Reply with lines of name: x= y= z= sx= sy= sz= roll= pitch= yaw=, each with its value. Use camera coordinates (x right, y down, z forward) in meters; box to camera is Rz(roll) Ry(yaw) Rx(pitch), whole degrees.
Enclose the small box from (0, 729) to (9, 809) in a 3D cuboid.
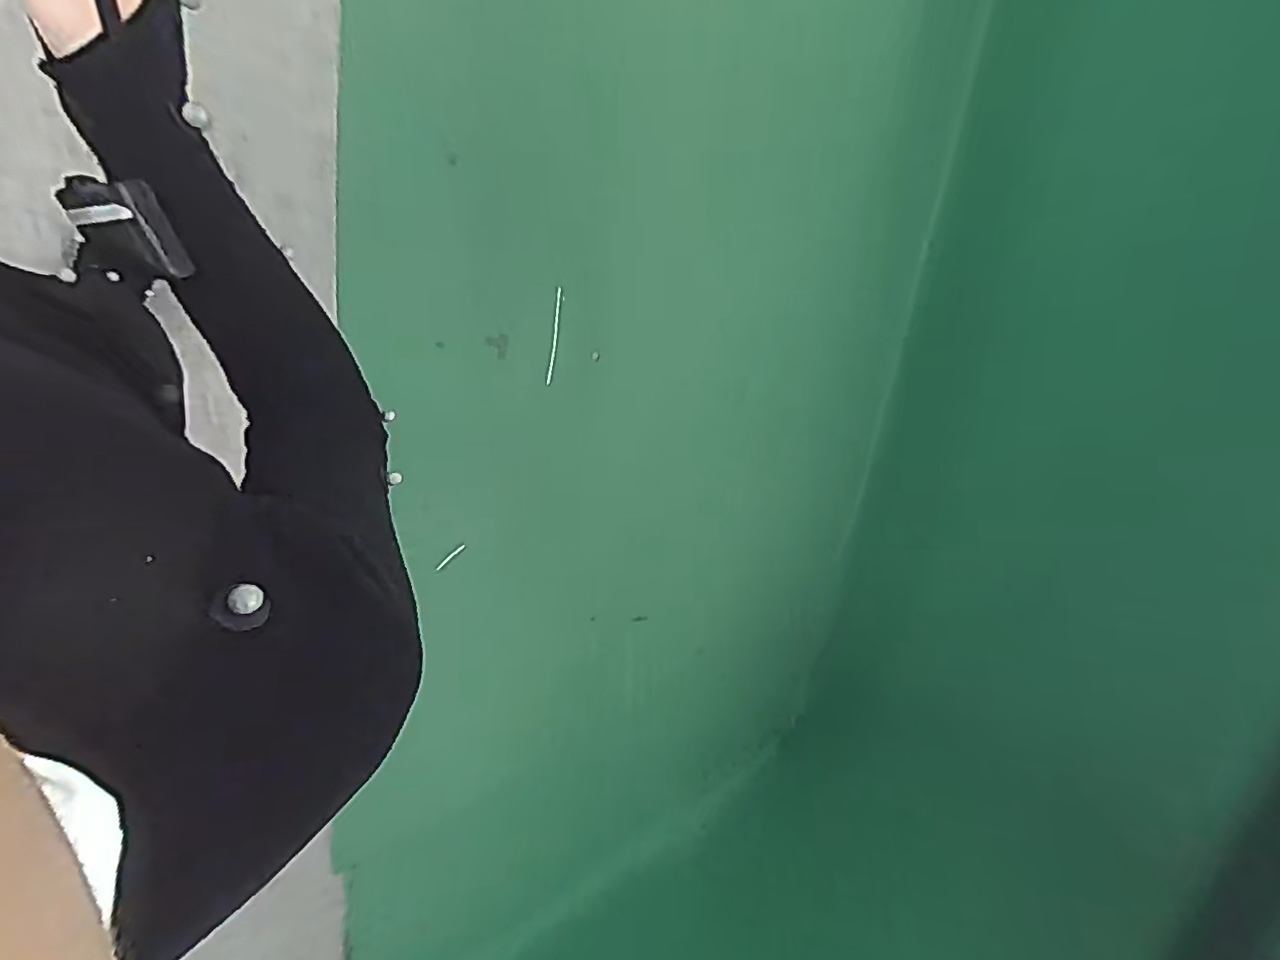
small box: x=-1.410 y=0.620 z=1.079 sx=0.168 sy=0.176 sz=0.179 roll=-3 pitch=108 yaw=-39
